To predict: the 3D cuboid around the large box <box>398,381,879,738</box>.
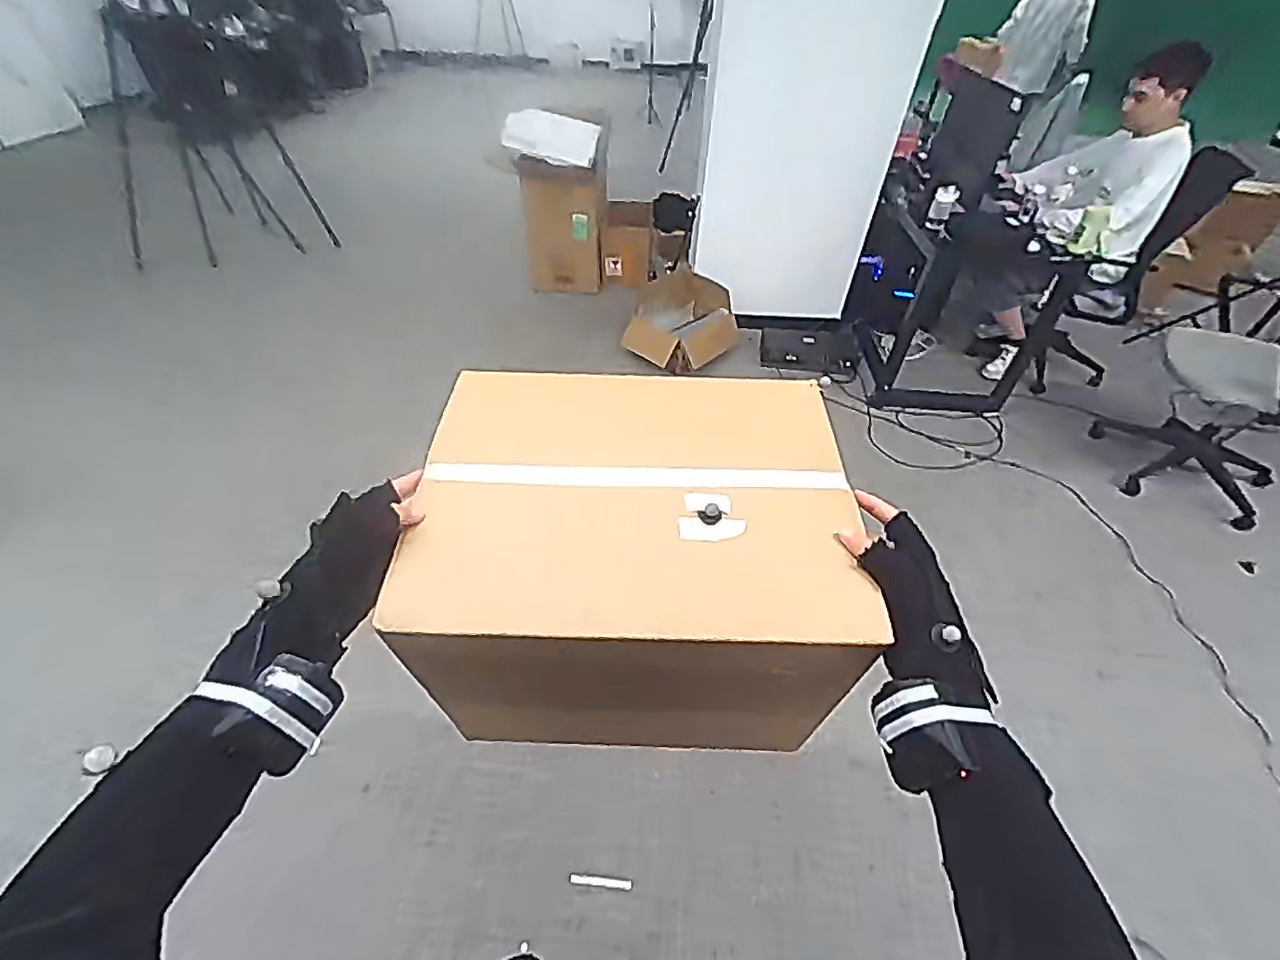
[{"bbox_3d":[-0.004,0.102,0.647,0.408,0.320,0.320,2,50,0],"label":"large box"}]
